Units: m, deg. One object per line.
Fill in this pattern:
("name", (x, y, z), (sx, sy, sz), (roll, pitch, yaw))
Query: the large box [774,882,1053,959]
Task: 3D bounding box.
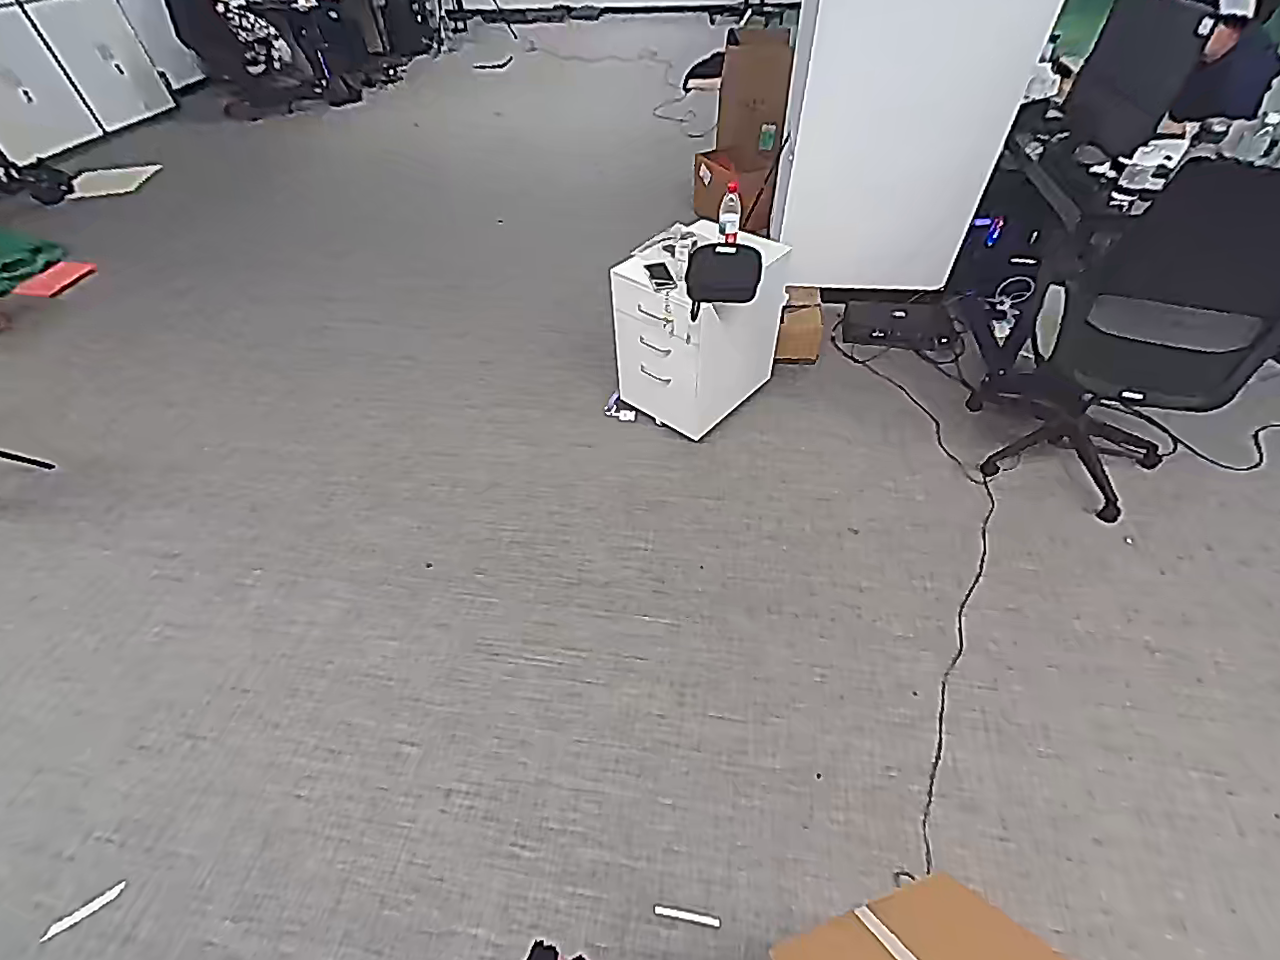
("large box", (0.406, 0.771, 0.611), (0.320, 0.408, 0.320), (-15, 81, -10))
